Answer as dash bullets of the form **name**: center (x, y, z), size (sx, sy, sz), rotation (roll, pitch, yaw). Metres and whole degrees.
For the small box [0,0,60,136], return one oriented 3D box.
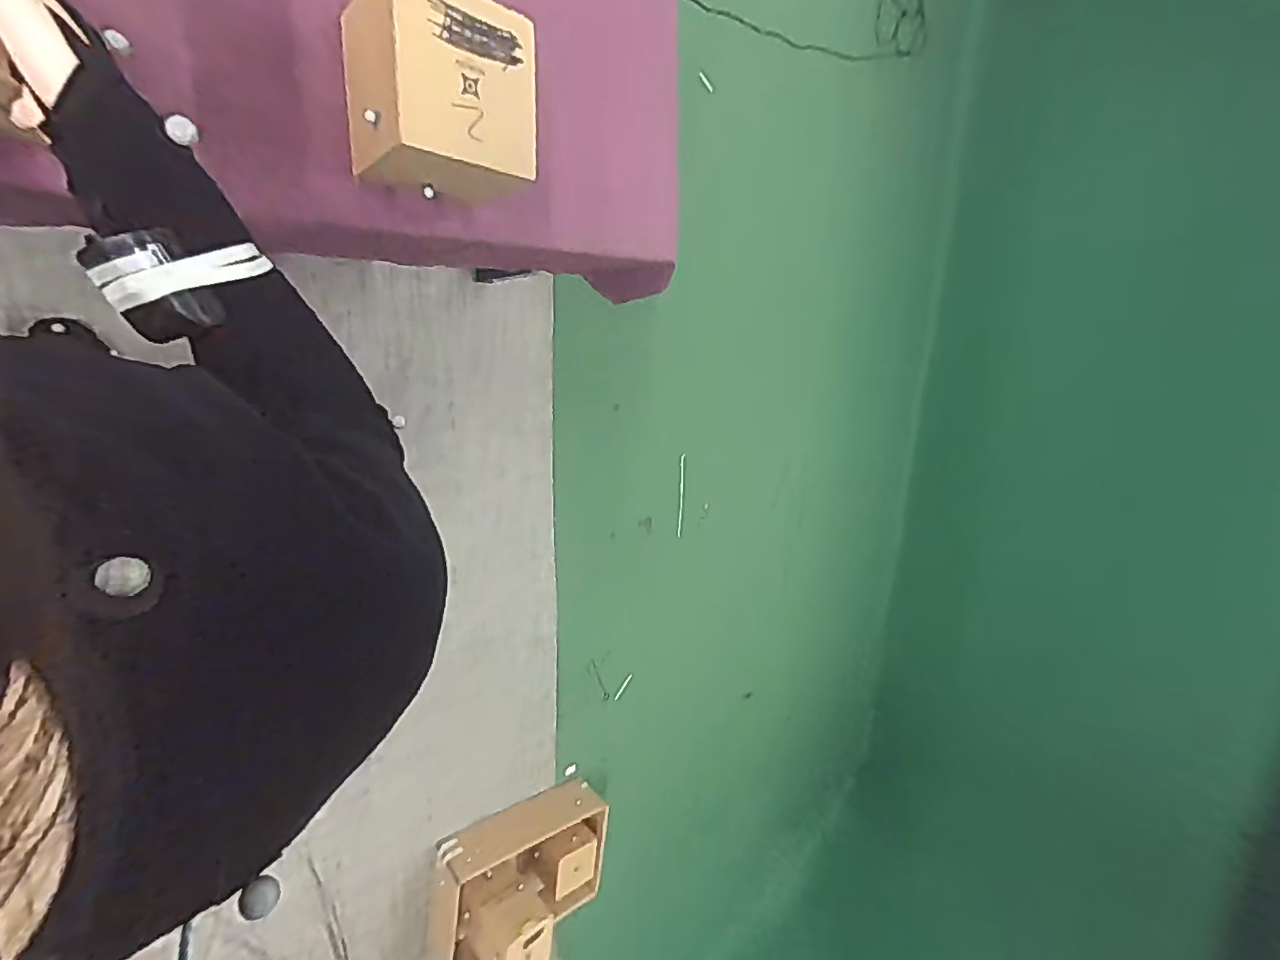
- **small box**: center (-0.553, -0.370, 0.382), size (0.179, 0.176, 0.168), rotation (-11, 107, -40)

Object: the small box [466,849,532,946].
- **small box**: center (-0.483, 1.406, 1.842), size (0.168, 0.176, 0.179), rotation (-5, 103, -42)

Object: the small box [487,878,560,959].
- **small box**: center (-0.373, 1.421, 1.720), size (0.168, 0.176, 0.179), rotation (-3, 103, -43)

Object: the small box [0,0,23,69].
- **small box**: center (-0.446, -0.350, 0.261), size (0.168, 0.176, 0.179), rotation (-11, 109, -42)
